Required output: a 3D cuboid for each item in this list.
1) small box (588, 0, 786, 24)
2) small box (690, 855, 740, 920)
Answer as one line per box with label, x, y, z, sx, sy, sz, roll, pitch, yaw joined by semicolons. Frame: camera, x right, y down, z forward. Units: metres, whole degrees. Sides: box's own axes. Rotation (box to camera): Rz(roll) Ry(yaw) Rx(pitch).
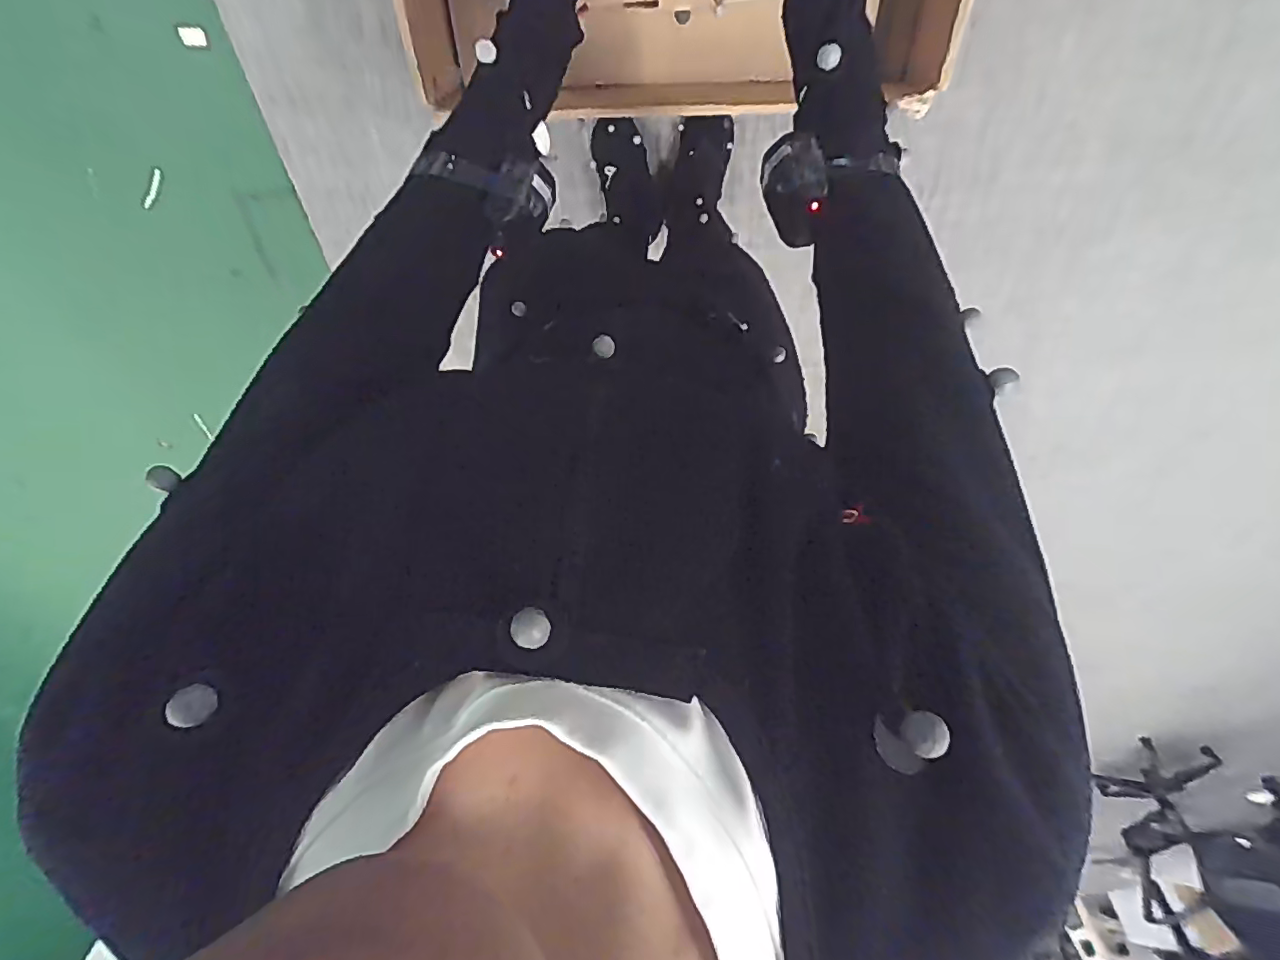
small box;0.039;-0.500;0.445;0.168;0.176;0.179;-1;131;4
small box;0.284;1.549;2.056;0.179;0.176;0.168;-3;131;9
